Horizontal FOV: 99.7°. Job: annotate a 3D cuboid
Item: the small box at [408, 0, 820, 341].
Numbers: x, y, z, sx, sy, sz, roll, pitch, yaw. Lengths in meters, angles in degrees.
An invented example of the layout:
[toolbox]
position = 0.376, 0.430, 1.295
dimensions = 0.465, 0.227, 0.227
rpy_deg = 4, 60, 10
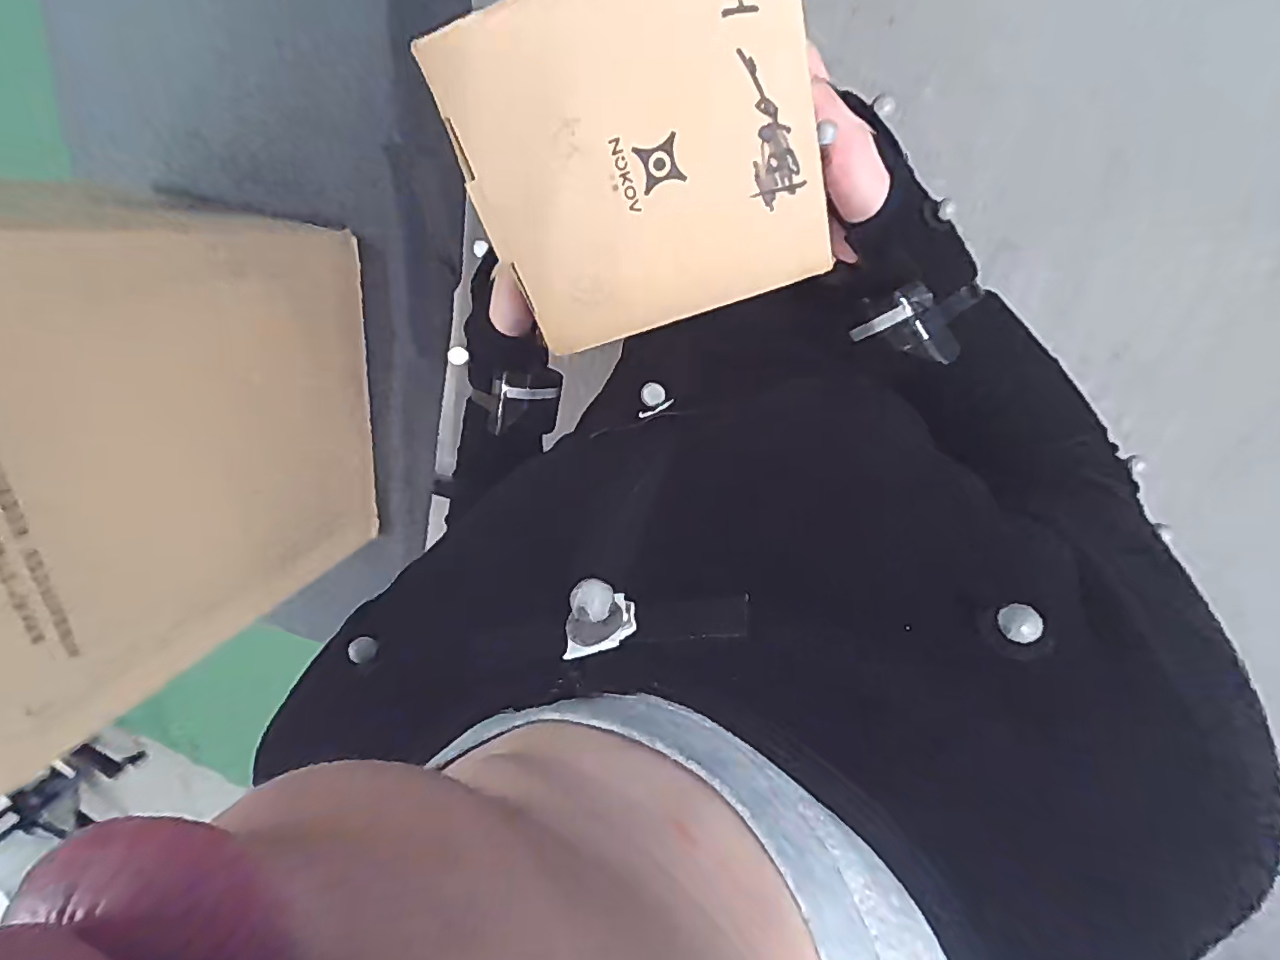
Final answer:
[small box]
position = 0.001, -0.213, 0.337
dimensions = 0.179, 0.176, 0.168
rpy_deg = -12, 127, 12
